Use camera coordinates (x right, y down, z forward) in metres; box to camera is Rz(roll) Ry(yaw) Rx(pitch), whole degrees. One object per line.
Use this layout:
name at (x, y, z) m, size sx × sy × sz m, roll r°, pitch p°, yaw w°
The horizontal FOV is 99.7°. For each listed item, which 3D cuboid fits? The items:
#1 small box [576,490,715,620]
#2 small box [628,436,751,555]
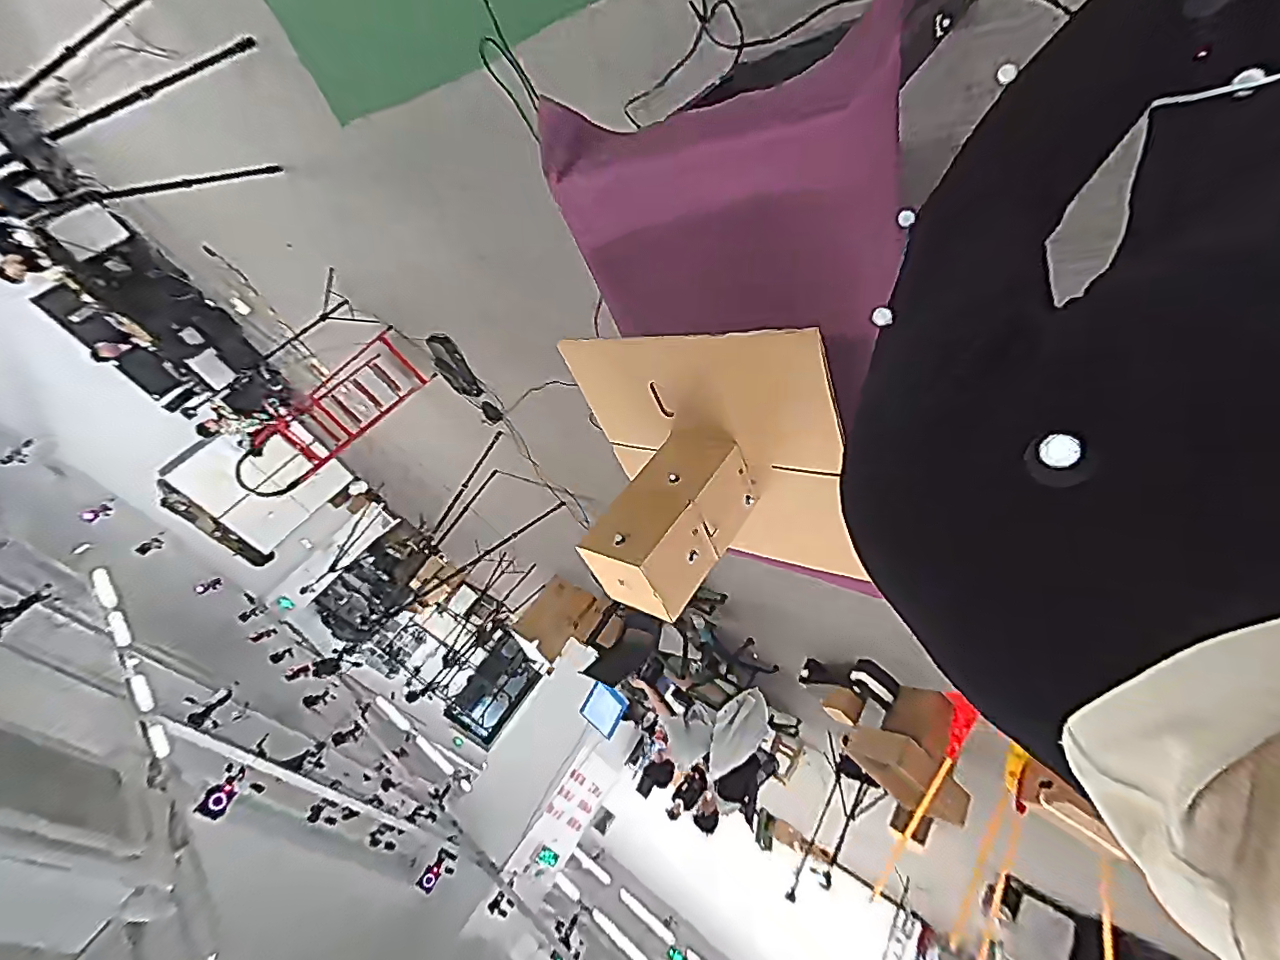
small box at (0.015, 0.136, 1.051) m, size 0.179 × 0.176 × 0.168 m, roll 9°, pitch 139°, yaw 42°
small box at (0.112, 0.026, 1.120) m, size 0.179 × 0.176 × 0.168 m, roll 12°, pitch 141°, yaw 43°
